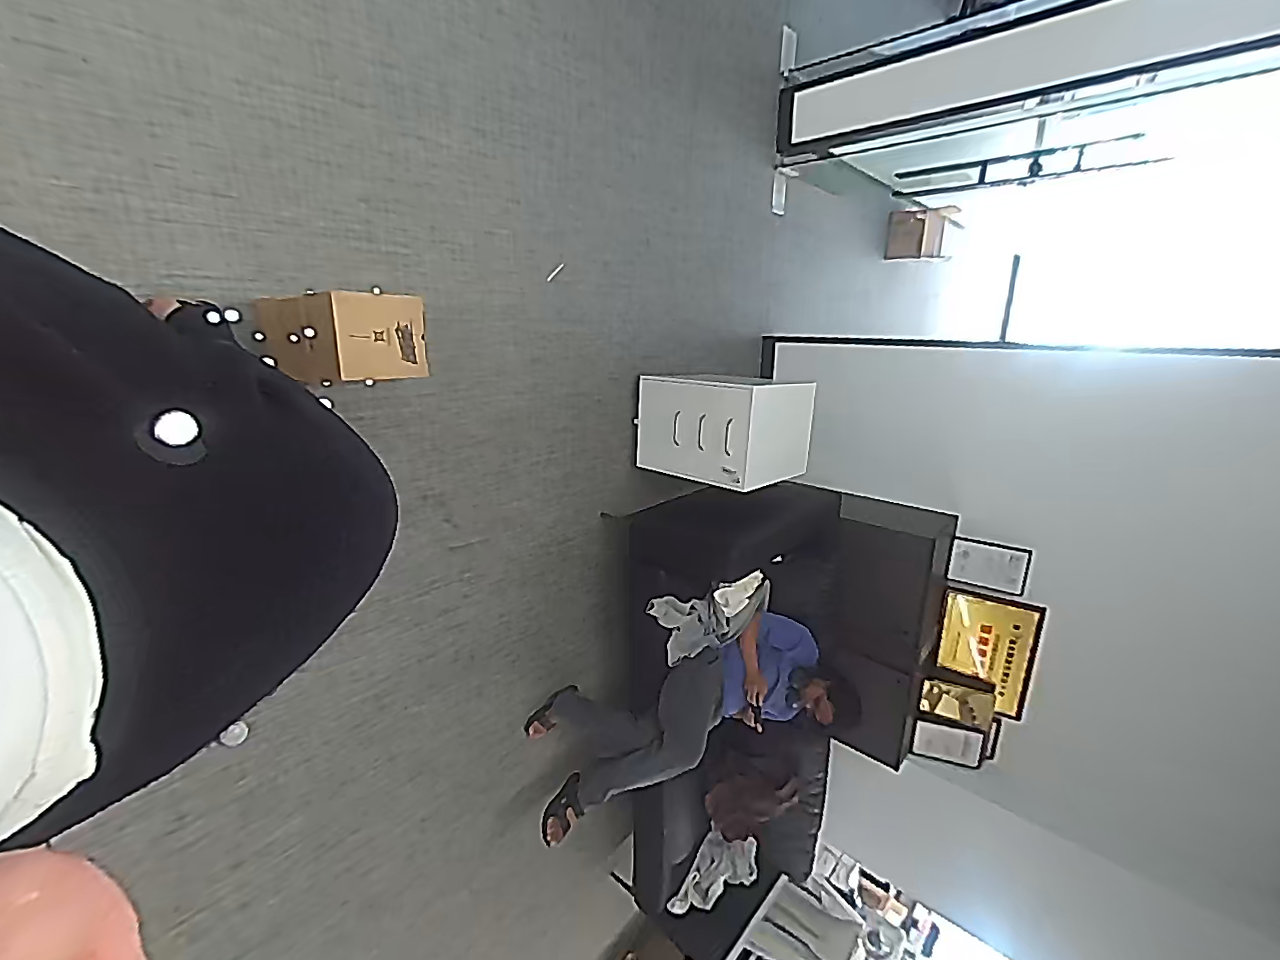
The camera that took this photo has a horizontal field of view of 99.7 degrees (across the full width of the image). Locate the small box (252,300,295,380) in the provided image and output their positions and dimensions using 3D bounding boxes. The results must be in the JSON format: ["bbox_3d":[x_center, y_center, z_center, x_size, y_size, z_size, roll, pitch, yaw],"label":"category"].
[{"bbox_3d":[-0.821,-0.344,1.323,0.168,0.176,0.179,-16,113,-47],"label":"small box"}]

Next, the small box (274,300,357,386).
[{"bbox_3d":[-0.700,-0.313,1.221,0.168,0.176,0.179,-17,116,-46],"label":"small box"}]

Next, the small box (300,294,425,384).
[{"bbox_3d":[-0.571,-0.291,1.119,0.179,0.176,0.168,-15,111,-46],"label":"small box"}]
